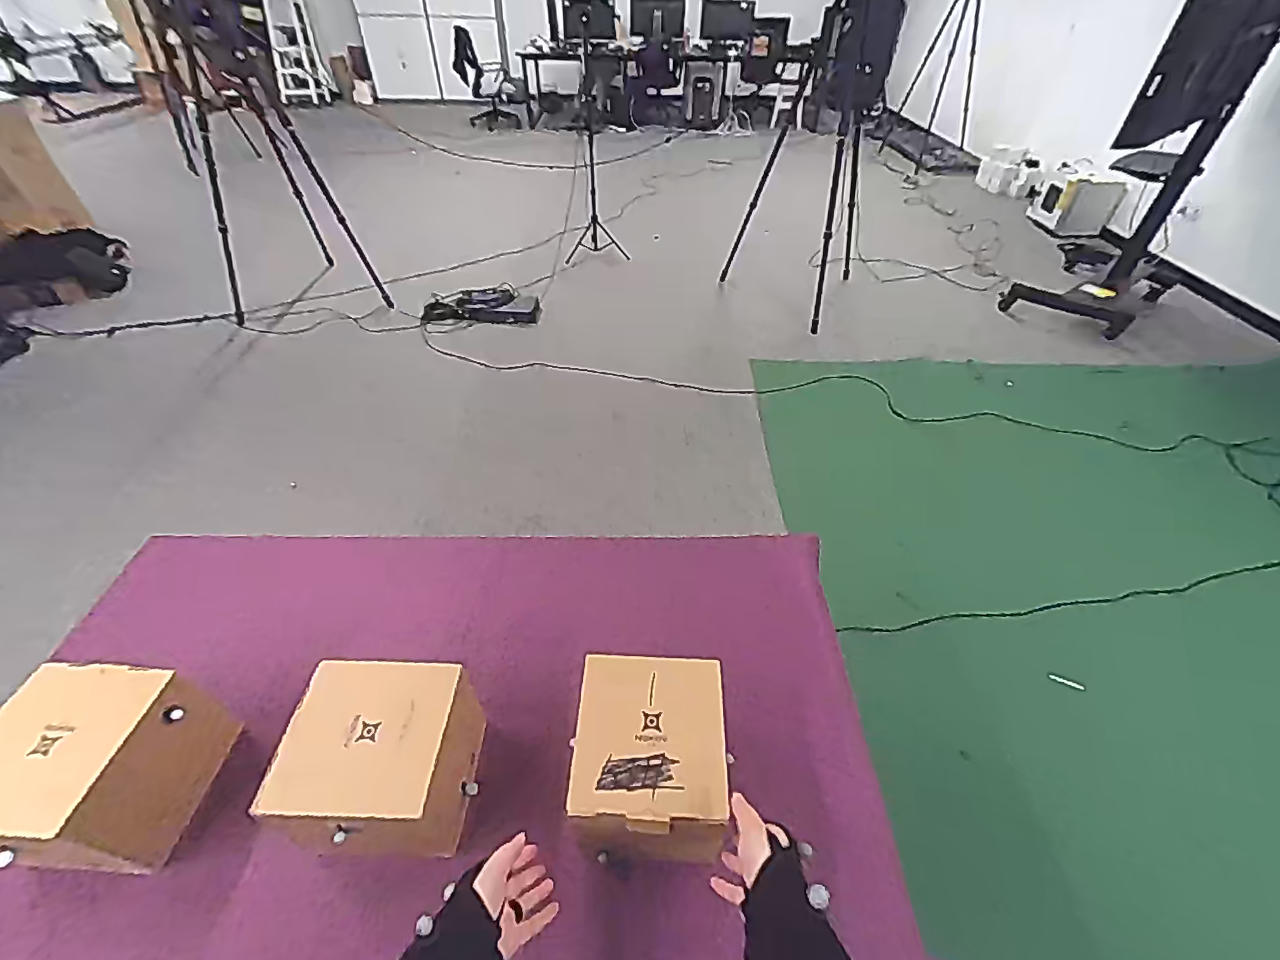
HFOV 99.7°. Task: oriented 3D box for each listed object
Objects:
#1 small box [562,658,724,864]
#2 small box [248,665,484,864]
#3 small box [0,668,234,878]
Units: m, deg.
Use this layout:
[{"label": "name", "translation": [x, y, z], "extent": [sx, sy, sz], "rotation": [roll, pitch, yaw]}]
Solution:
[{"label": "small box", "translation": [0.008, 0.338, 0.651], "extent": [0.168, 0.176, 0.179], "rotation": [2, 42, 2]}, {"label": "small box", "translation": [-0.304, 0.342, 0.649], "extent": [0.179, 0.176, 0.168], "rotation": [2, 43, 1]}, {"label": "small box", "translation": [-0.638, 0.348, 0.641], "extent": [0.168, 0.176, 0.179], "rotation": [3, 42, 2]}]
